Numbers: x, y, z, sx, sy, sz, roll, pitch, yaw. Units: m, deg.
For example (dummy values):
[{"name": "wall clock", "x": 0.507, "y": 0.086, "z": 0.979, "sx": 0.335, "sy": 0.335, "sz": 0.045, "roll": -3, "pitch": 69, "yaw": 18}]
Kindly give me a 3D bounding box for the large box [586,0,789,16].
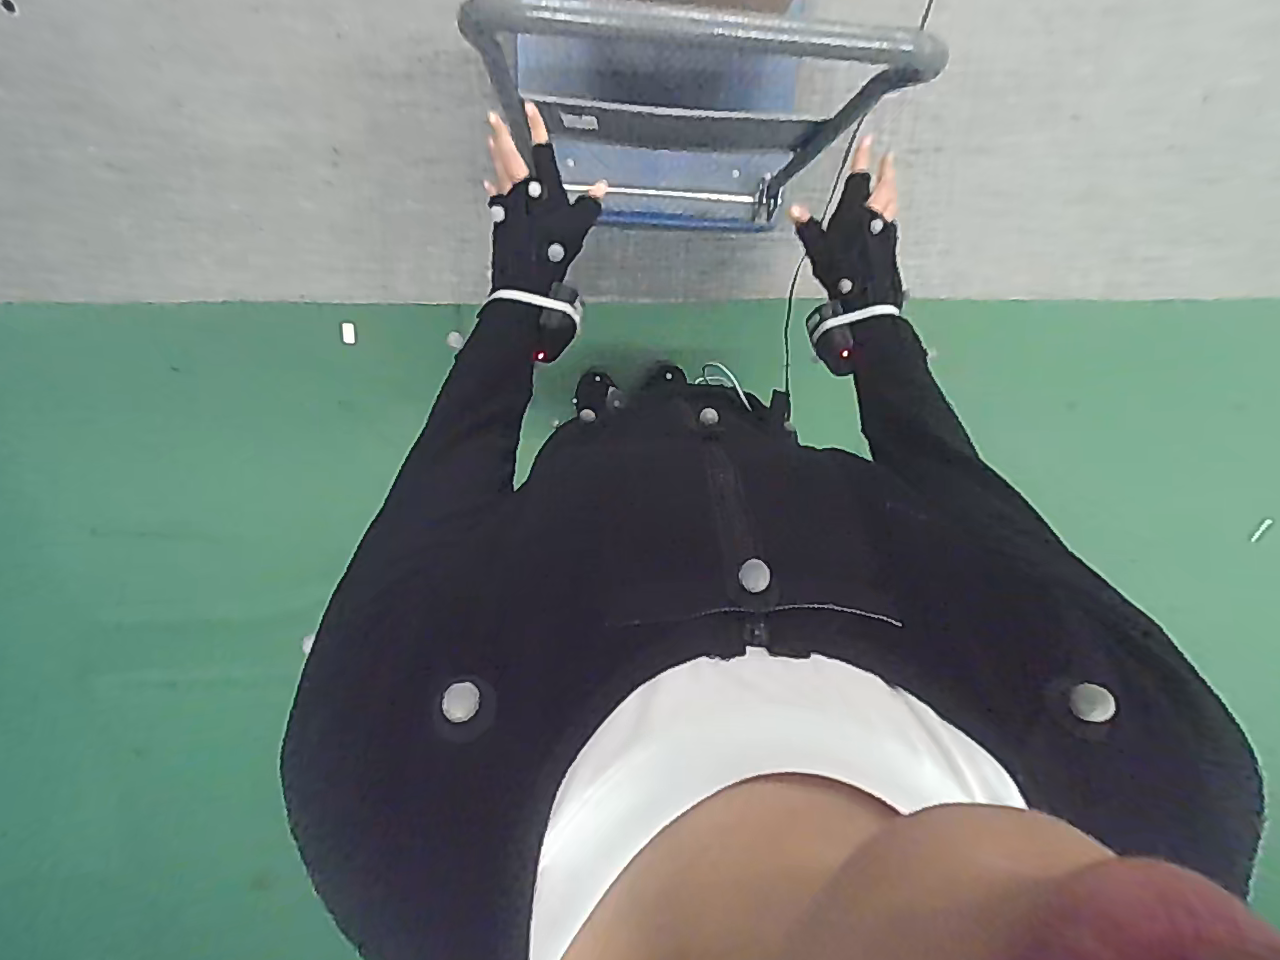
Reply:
[{"name": "large box", "x": 0.099, "y": -1.044, "z": 0.904, "sx": 0.408, "sy": 0.320, "sz": 0.320, "roll": -1, "pitch": 103, "yaw": -3}]
